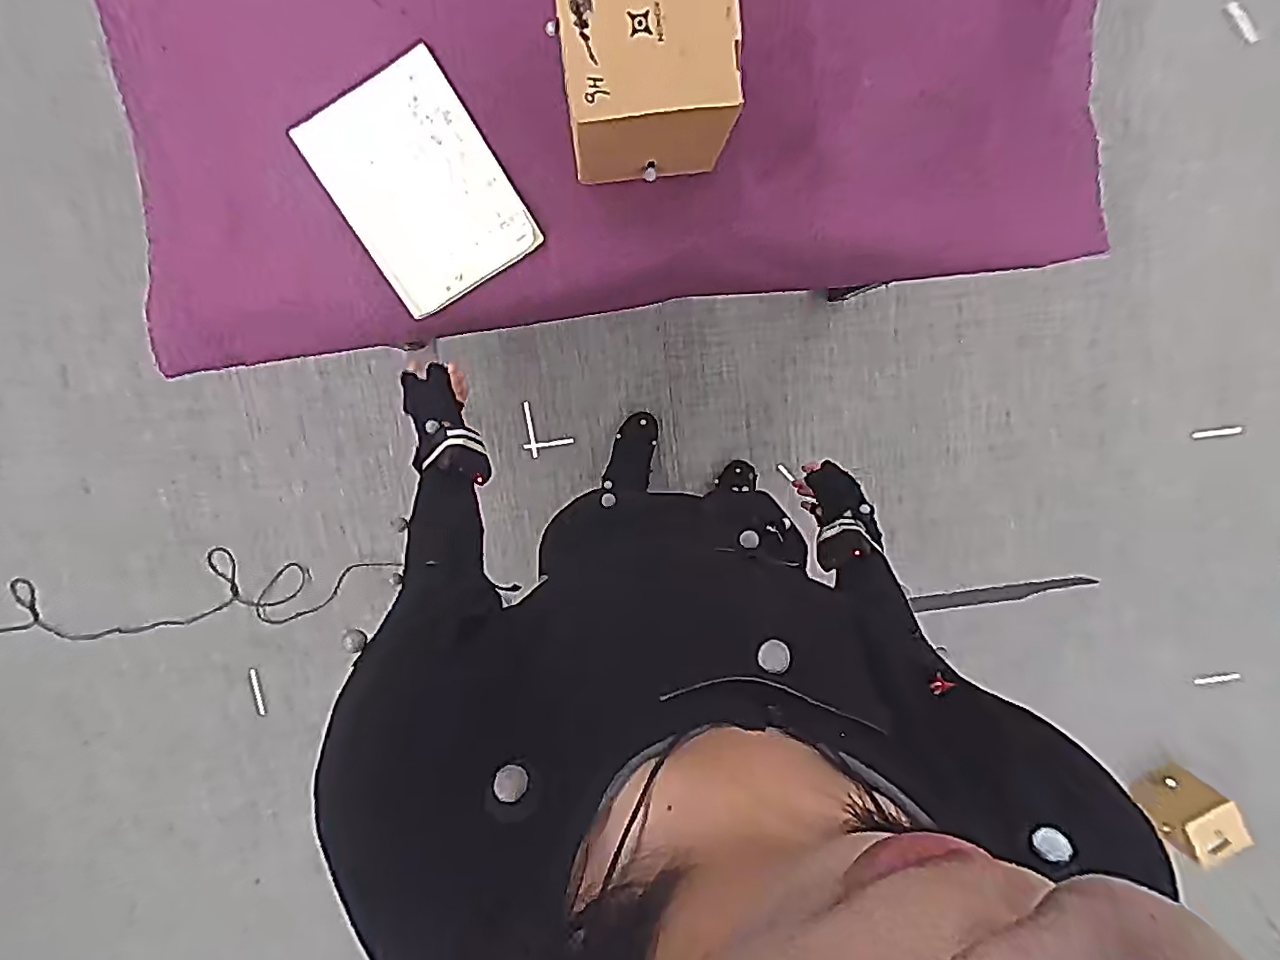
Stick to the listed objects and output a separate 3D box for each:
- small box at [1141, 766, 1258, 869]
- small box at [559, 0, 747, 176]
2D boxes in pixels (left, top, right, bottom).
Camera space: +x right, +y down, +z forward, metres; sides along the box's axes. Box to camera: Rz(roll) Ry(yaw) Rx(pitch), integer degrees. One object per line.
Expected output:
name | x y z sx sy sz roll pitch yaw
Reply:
small box | 1.737 1.045 1.687 0.168 0.176 0.179 -30 98 1
small box | 0.006 -0.464 0.603 0.179 0.176 0.168 -8 99 -3
